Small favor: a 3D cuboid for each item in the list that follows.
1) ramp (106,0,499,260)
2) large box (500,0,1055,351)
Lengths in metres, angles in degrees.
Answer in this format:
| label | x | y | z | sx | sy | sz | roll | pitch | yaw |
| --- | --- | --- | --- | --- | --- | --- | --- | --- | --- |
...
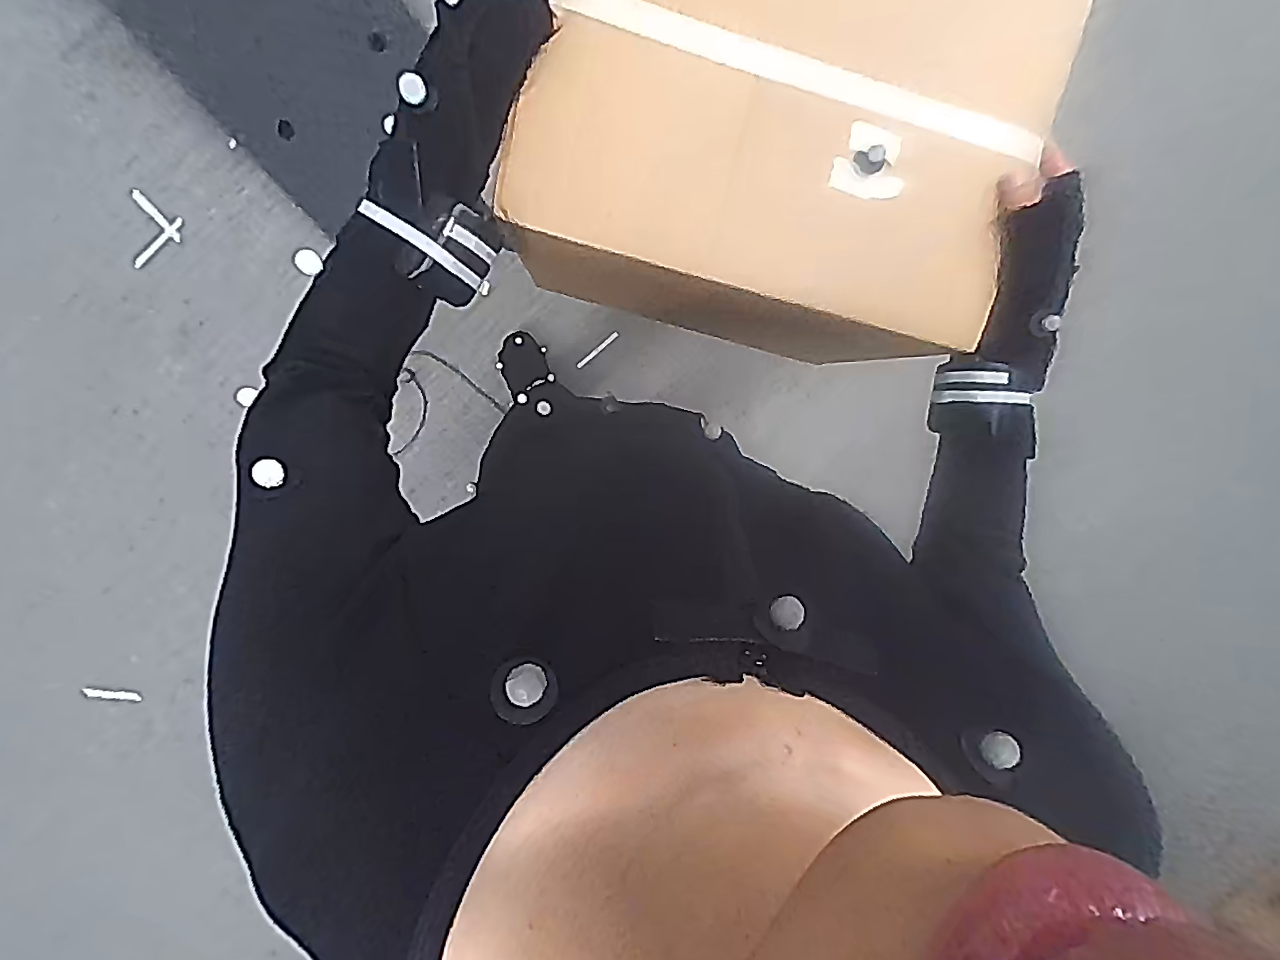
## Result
| label | x | y | z | sx | sy | sz | roll | pitch | yaw |
| --- | --- | --- | --- | --- | --- | --- | --- | --- | --- |
| ramp | -0.825 | -1.046 | 1.162 | 0.509 | 0.206 | 0.991 | -43 | 100 | 2 |
| large box | 0.097 | -0.337 | 0.564 | 0.408 | 0.320 | 0.320 | 12 | 99 | -8 |
